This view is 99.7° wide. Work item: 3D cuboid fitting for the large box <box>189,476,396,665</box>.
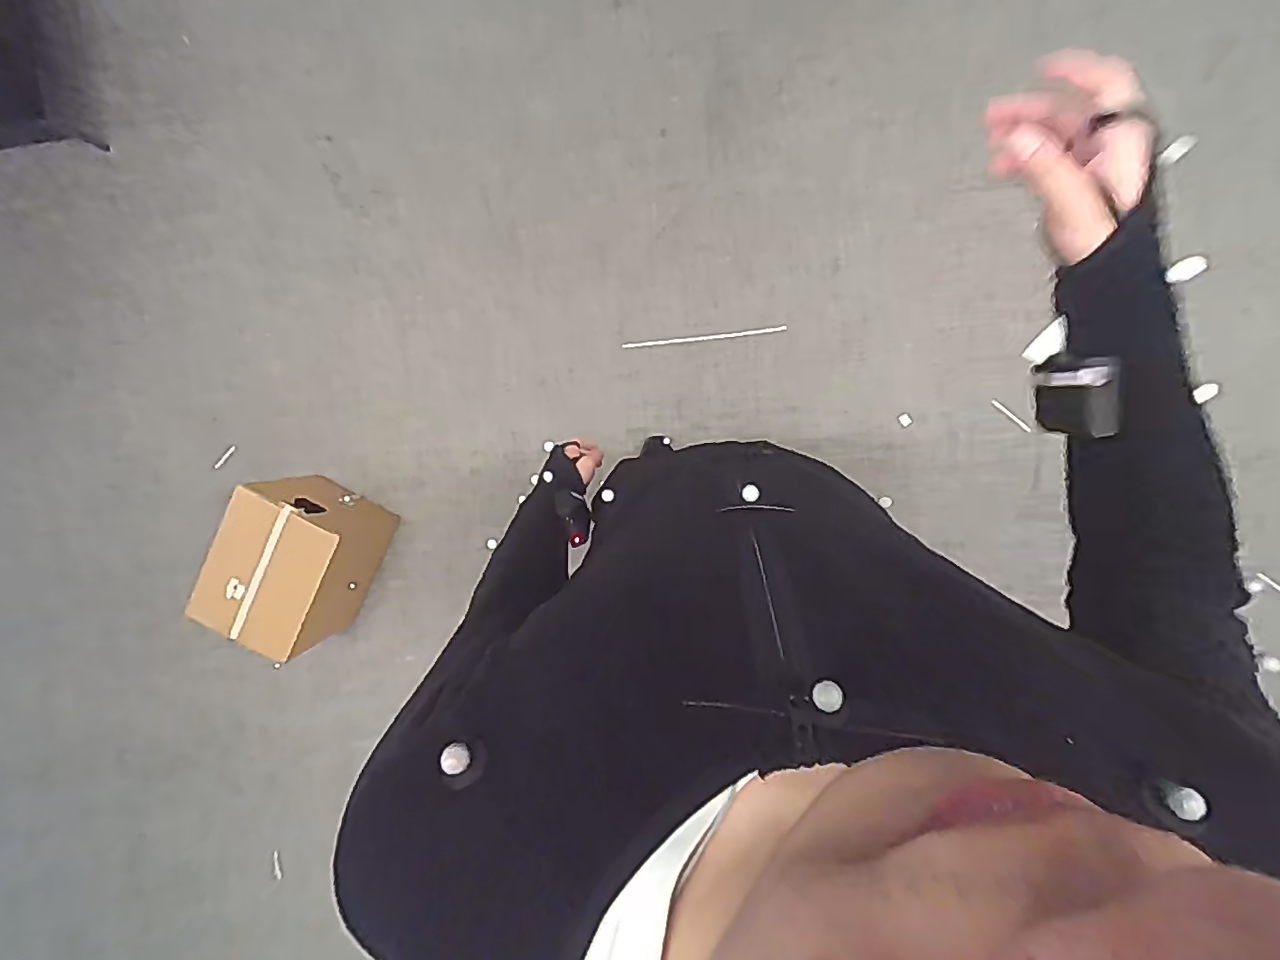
[{"bbox_3d":[-0.988,0.241,1.578,0.320,0.320,0.408,27,98,2],"label":"large box"}]
